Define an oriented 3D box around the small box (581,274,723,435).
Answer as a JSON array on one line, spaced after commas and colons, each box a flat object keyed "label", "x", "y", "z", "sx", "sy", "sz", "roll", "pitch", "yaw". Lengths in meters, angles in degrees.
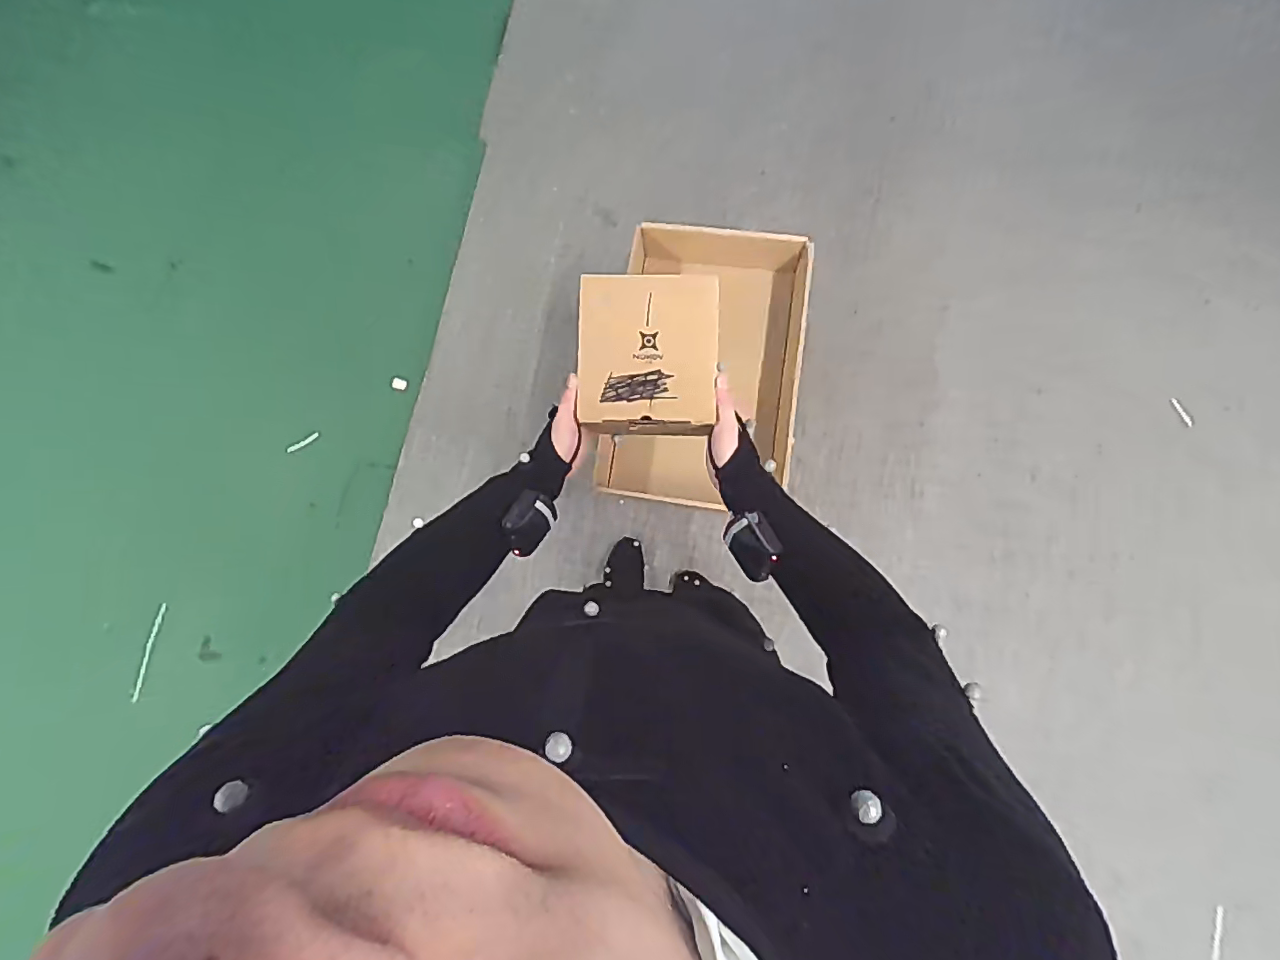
[{"label": "small box", "x": 0.018, "y": -0.151, "z": 0.705, "sx": 0.168, "sy": 0.176, "sz": 0.179, "roll": 0, "pitch": 89, "yaw": 3}]
